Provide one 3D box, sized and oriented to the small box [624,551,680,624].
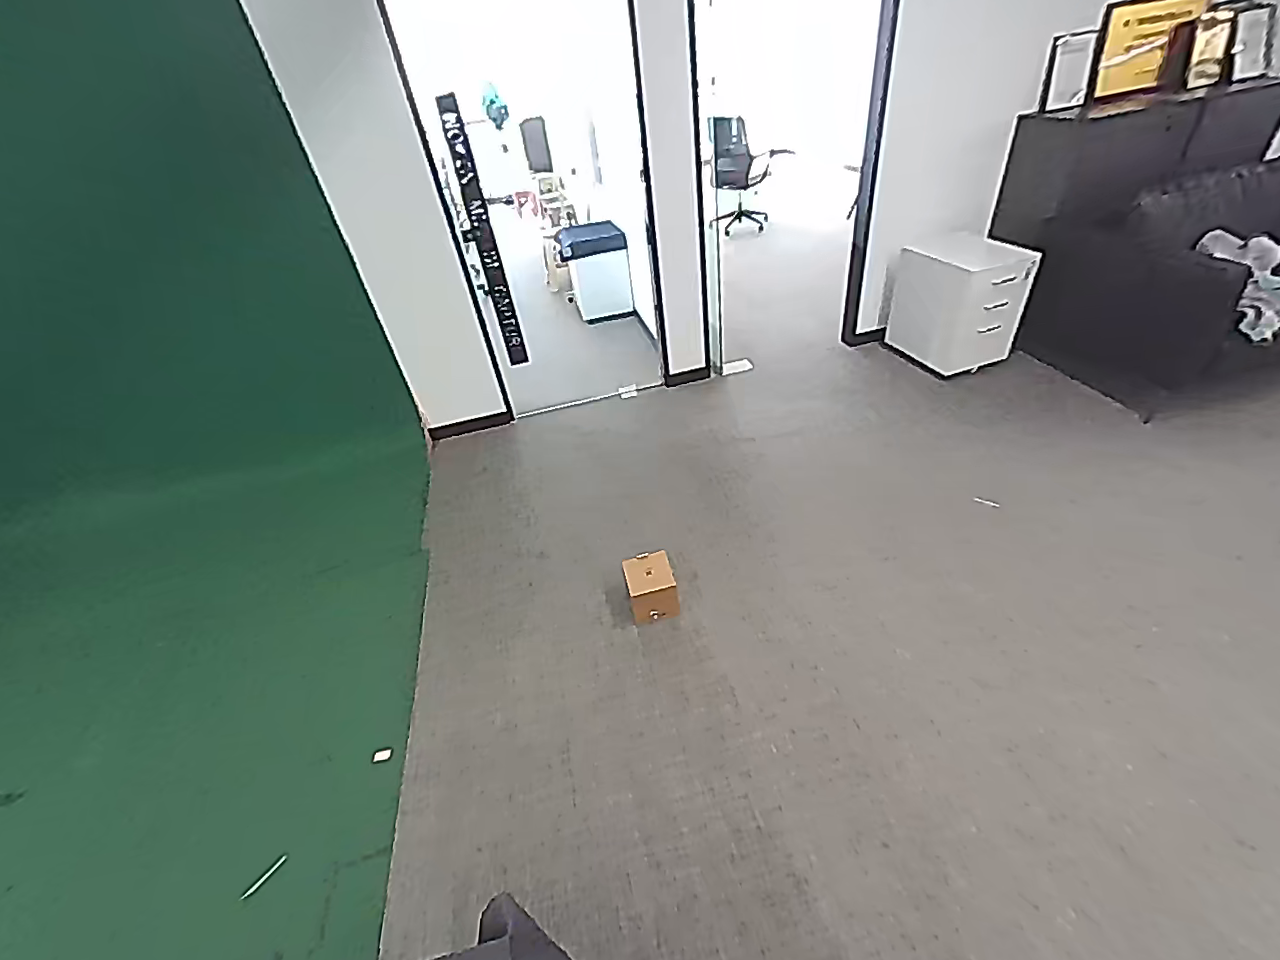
[{"bbox_3d":[0.043,0.388,1.948,0.168,0.176,0.179,-13,38,-3],"label":"small box"}]
